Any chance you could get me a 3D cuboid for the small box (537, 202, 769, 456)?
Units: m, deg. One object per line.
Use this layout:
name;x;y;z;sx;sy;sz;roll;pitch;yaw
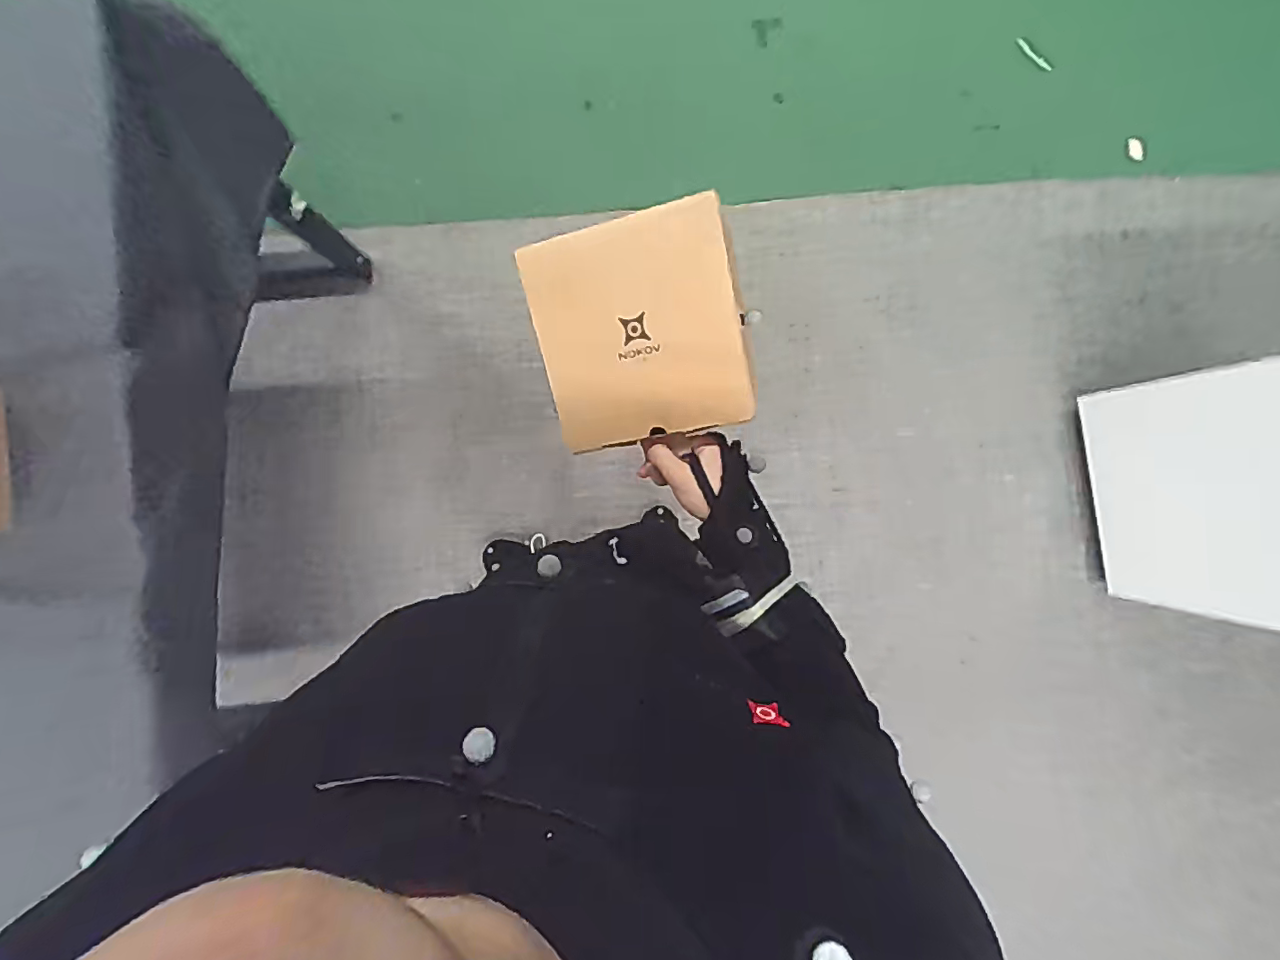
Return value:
small box;0.024;-0.136;0.512;0.168;0.176;0.179;-9;106;14
